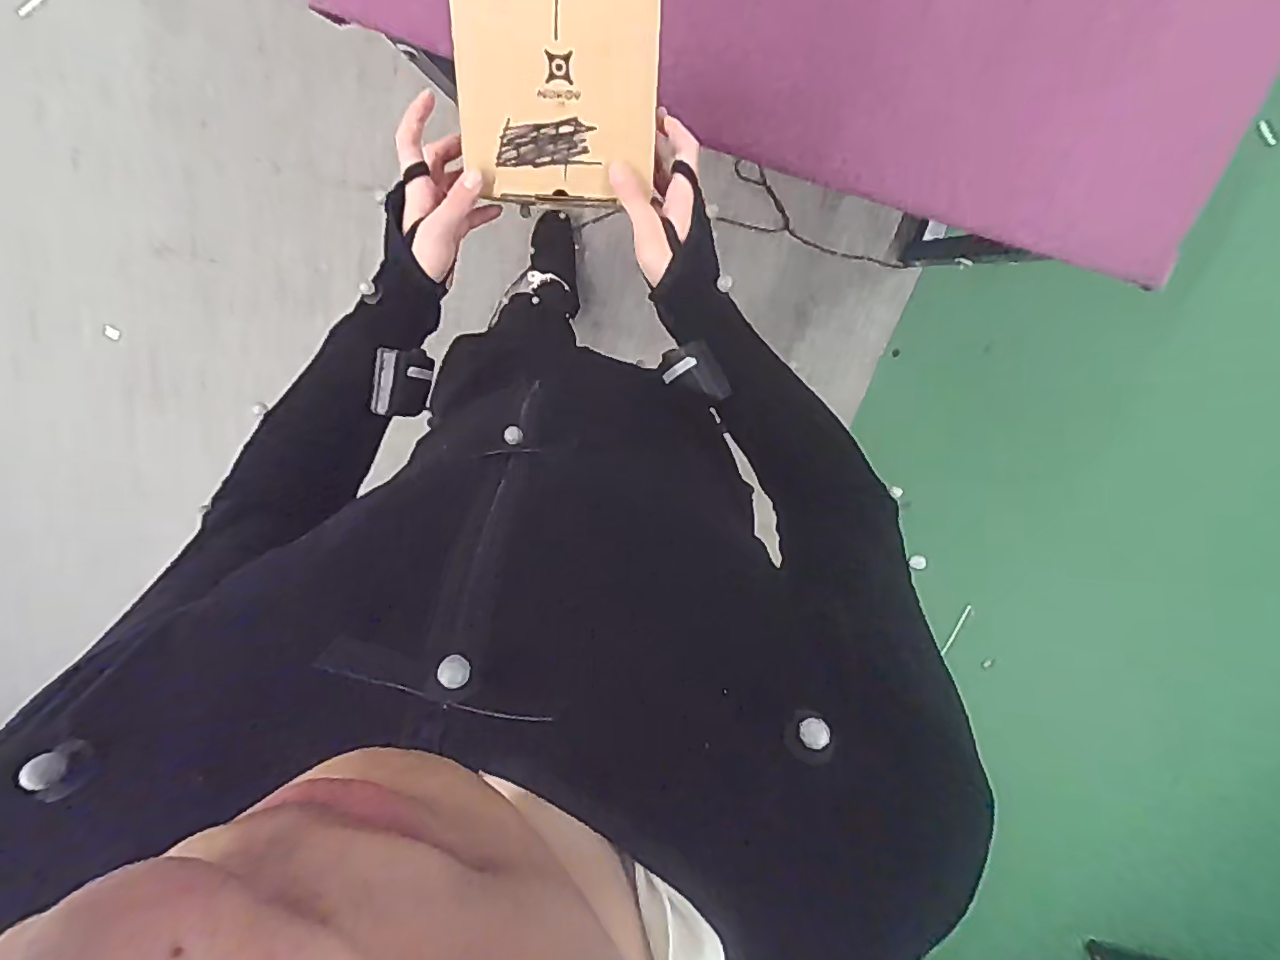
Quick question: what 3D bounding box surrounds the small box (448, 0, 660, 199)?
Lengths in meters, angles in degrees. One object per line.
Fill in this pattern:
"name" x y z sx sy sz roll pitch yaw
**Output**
"small box" -0.071 -0.366 0.505 0.168 0.176 0.179 1 115 -4
